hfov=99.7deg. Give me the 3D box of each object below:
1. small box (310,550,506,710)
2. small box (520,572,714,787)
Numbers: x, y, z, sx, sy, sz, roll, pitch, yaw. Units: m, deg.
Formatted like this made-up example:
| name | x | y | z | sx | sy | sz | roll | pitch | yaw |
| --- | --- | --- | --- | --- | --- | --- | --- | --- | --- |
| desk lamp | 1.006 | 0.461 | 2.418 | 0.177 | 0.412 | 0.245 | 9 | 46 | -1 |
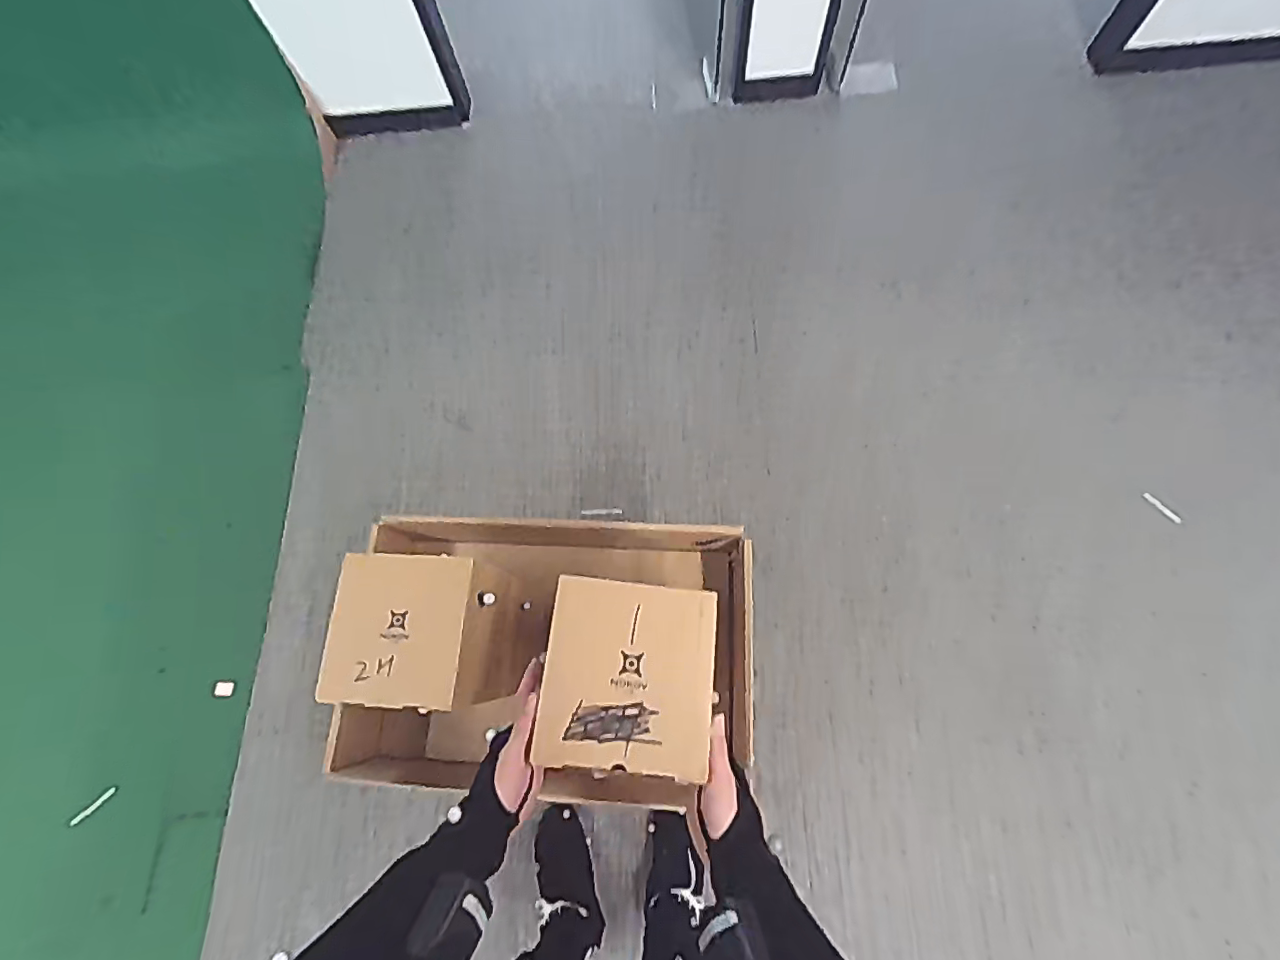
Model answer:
| name | x | y | z | sx | sy | sz | roll | pitch | yaw |
| --- | --- | --- | --- | --- | --- | --- | --- | --- | --- |
| small box | -0.283 | 0.196 | 0.707 | 0.168 | 0.176 | 0.179 | 1 | 72 | 5 |
| small box | -0.019 | 0.211 | 0.580 | 0.168 | 0.176 | 0.179 | 7 | 67 | 0 |
